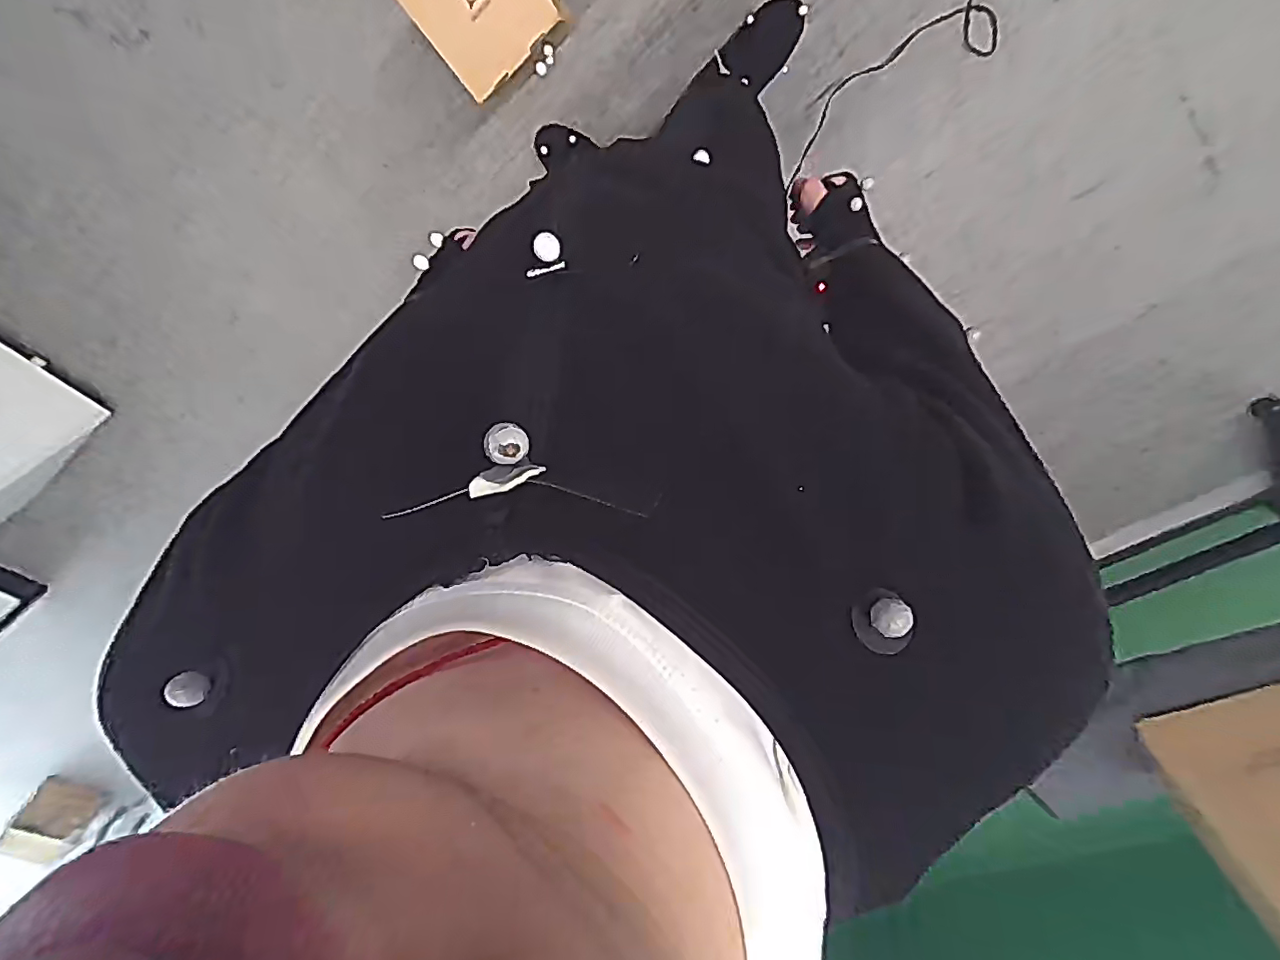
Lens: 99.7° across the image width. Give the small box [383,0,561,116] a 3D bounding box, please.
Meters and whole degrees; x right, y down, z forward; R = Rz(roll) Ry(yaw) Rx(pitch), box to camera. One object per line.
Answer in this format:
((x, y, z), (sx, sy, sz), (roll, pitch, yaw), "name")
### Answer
((-0.233, -0.677, 0.789), (0.168, 0.176, 0.179), (-33, 121, 20), "small box")
